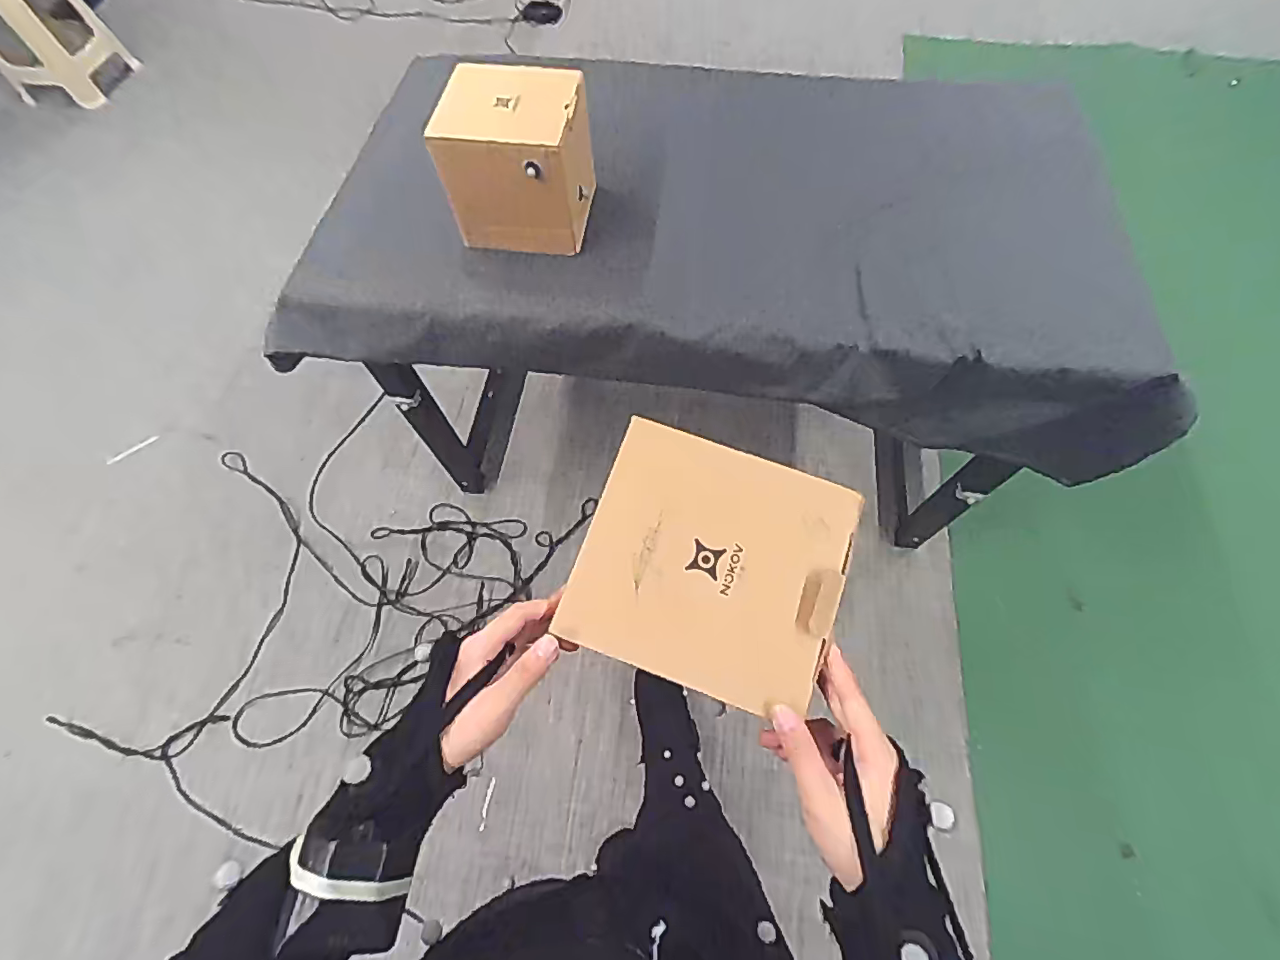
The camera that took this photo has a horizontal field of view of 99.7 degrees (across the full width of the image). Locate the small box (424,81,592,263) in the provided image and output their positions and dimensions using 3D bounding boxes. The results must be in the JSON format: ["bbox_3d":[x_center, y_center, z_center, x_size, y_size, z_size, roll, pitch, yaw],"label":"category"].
[{"bbox_3d":[-0.174,-0.436,0.778,0.179,0.176,0.168,6,63,4],"label":"small box"}]

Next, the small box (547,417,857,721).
[{"bbox_3d":[0.048,0.075,0.445,0.179,0.176,0.168,18,74,8],"label":"small box"}]
